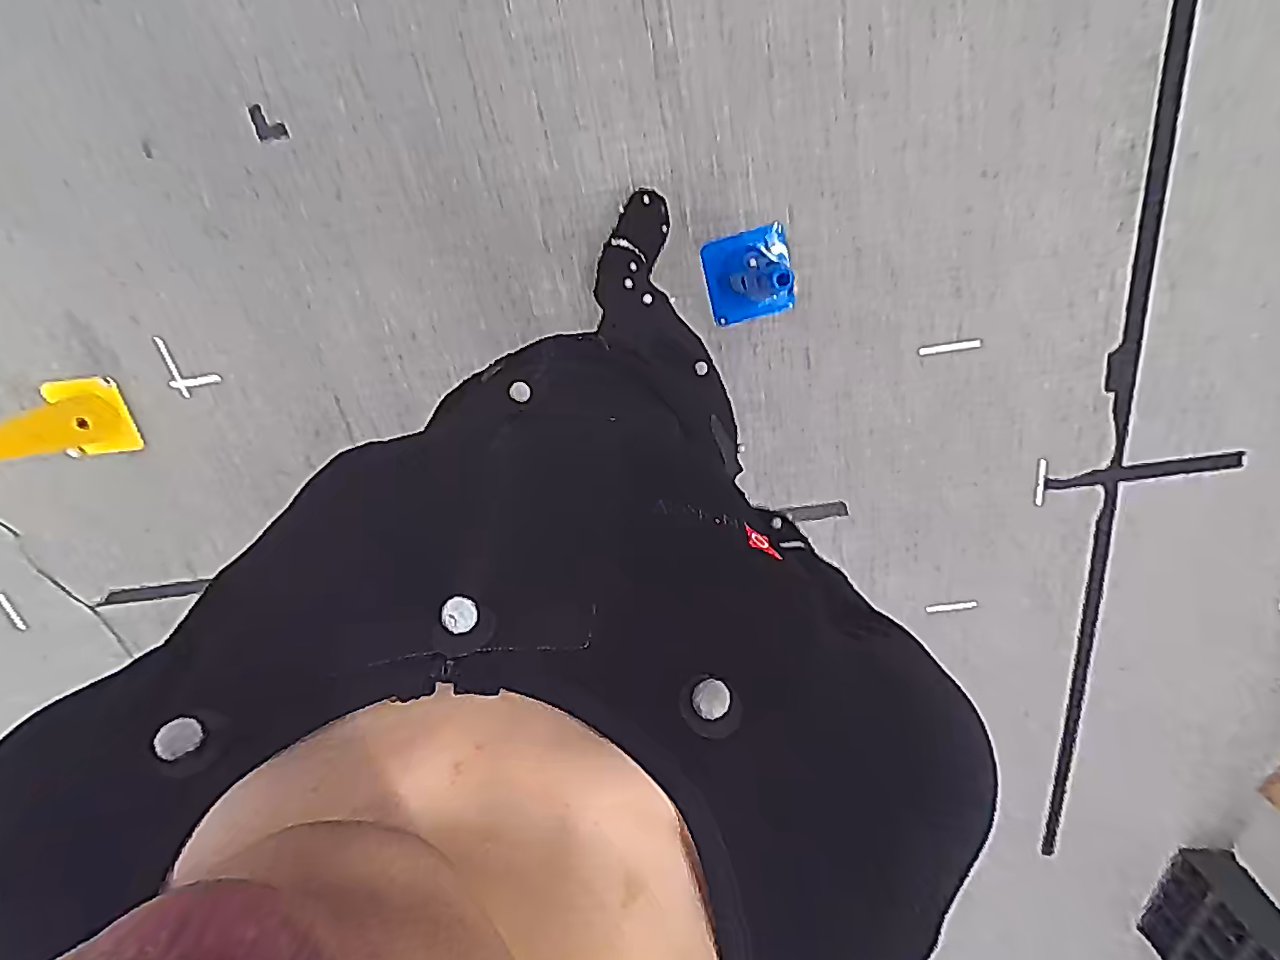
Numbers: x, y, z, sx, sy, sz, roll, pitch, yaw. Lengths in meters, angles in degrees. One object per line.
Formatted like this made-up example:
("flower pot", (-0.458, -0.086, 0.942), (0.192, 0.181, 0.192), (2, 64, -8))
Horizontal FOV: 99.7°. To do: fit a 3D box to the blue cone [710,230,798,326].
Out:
("blue cone", (0.268, -0.422, 1.142), (0.193, 0.380, 0.192), (-13, 111, 6))
